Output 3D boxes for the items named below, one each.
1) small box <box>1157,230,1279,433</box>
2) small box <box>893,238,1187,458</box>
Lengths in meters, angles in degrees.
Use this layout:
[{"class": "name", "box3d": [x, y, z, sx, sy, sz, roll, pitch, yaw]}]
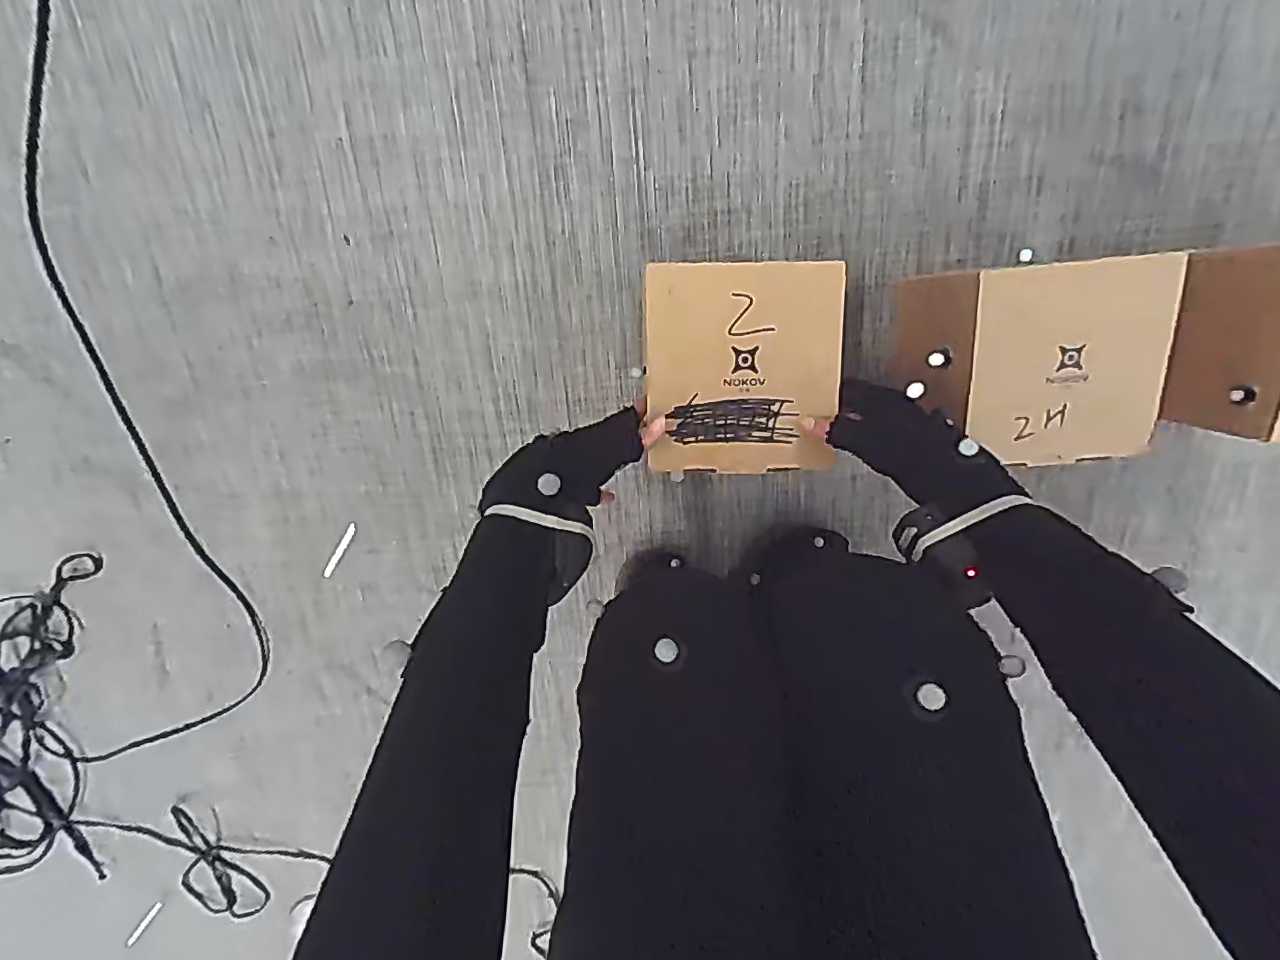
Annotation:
[{"class": "small box", "box3d": [0.637, -0.151, 0.528, 0.168, 0.176, 0.179, -3, 109, 3]}, {"class": "small box", "box3d": [0.370, -0.132, 0.541, 0.168, 0.176, 0.179, -4, 109, 5]}]
